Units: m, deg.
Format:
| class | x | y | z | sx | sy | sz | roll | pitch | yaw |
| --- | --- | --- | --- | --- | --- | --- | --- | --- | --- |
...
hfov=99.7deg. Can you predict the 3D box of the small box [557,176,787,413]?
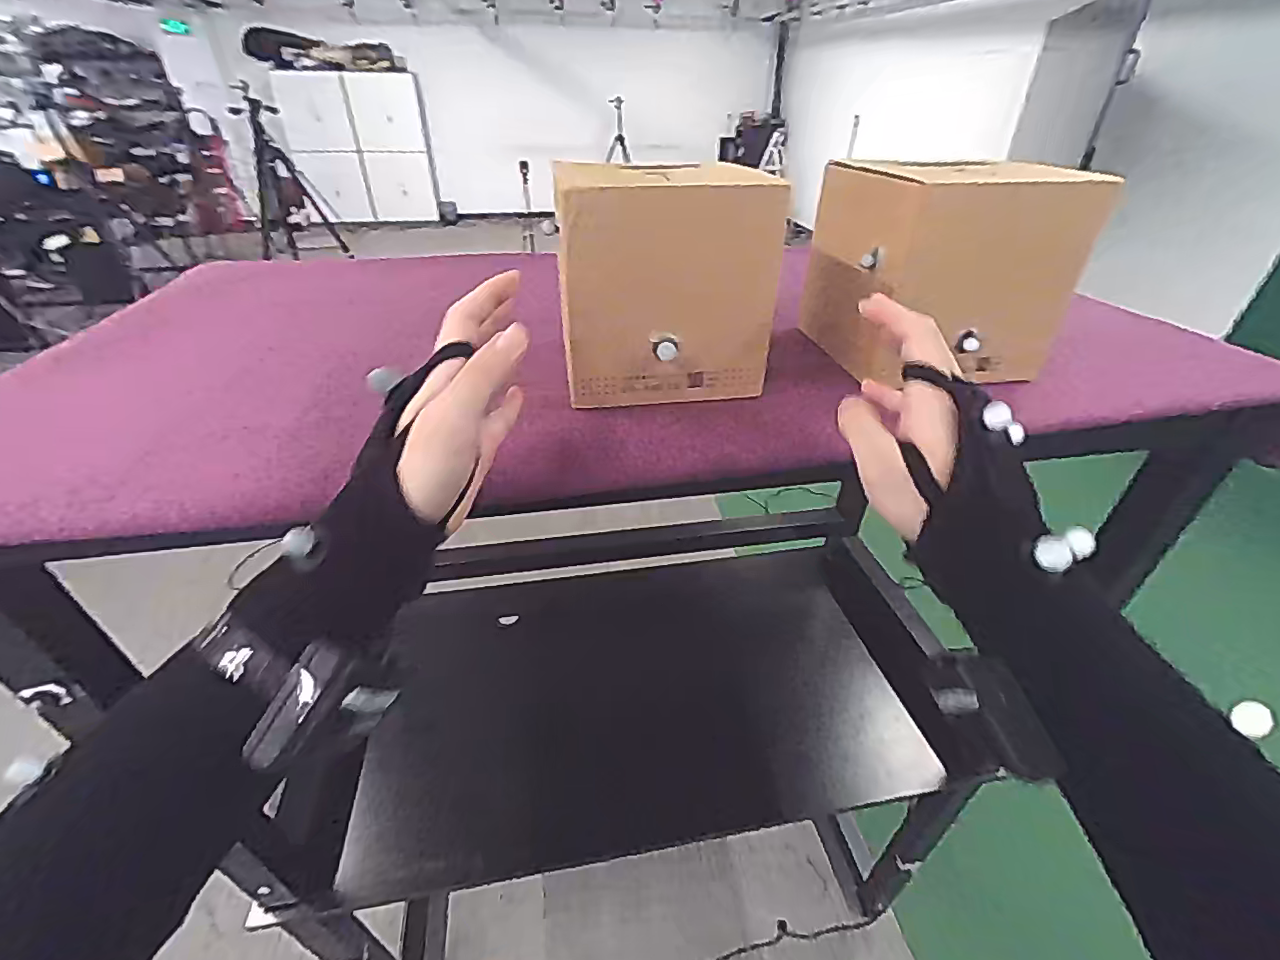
| class | x | y | z | sx | sy | sz | roll | pitch | yaw |
| --- | --- | --- | --- | --- | --- | --- | --- | --- | --- |
| small box | 0.014 | -0.176 | 0.497 | 0.168 | 0.176 | 0.179 | -6 | 35 | -9 |
